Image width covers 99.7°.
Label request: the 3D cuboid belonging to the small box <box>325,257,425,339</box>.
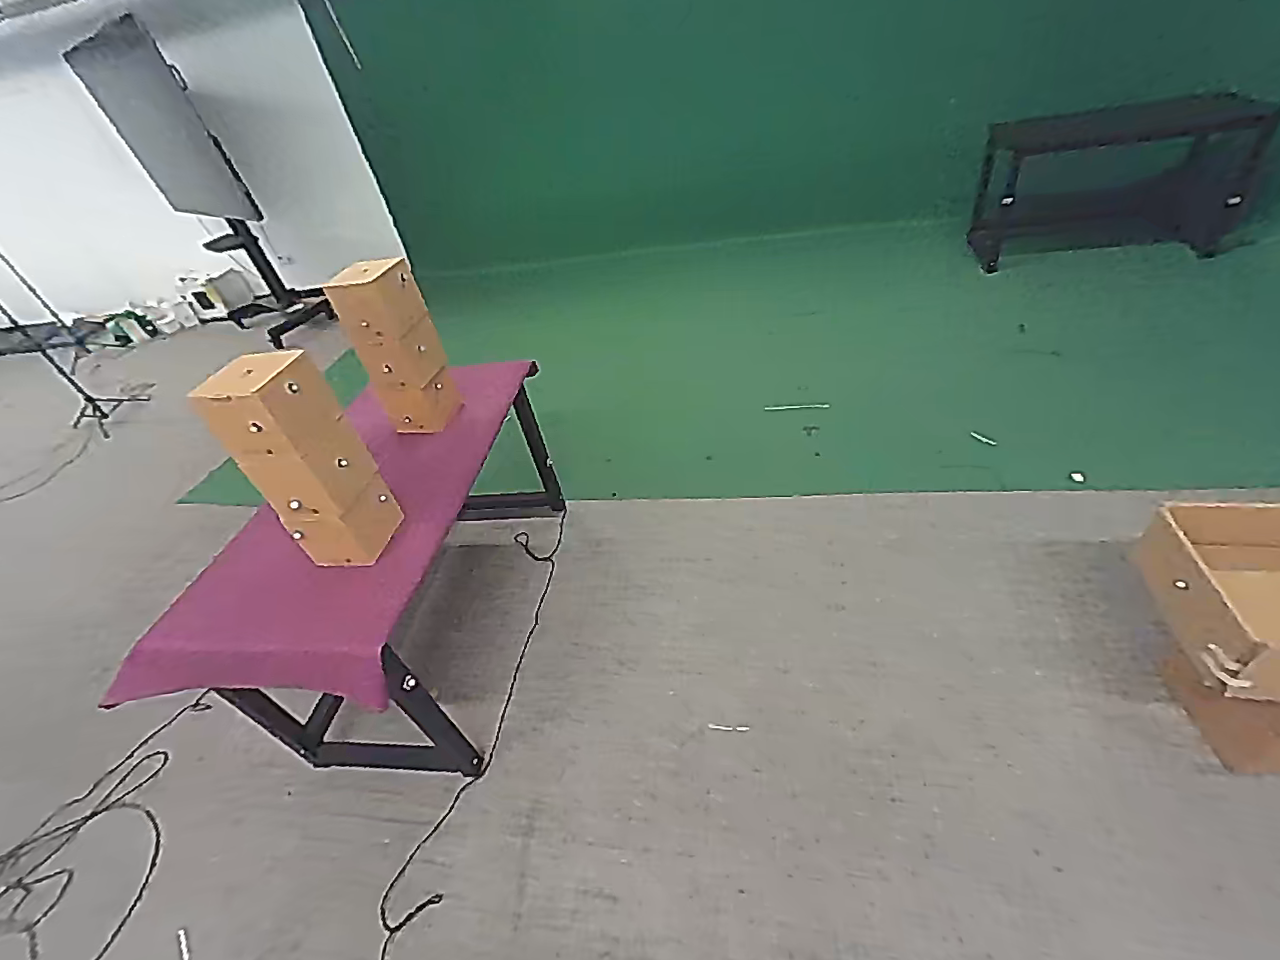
[{"bbox_3d":[-0.748,-0.522,1.556,0.168,0.176,0.179,1,43,15],"label":"small box"}]

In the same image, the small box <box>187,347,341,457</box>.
[{"bbox_3d":[-0.777,-0.160,1.143,0.168,0.176,0.179,-1,40,11],"label":"small box"}]

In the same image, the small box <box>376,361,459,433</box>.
[{"bbox_3d":[-0.716,-0.274,1.770,0.168,0.176,0.179,2,43,14],"label":"small box"}]

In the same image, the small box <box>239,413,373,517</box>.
[{"bbox_3d":[-0.751,-0.035,1.244,0.168,0.176,0.179,-2,41,11],"label":"small box"}]

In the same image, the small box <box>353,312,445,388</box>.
[{"bbox_3d":[-0.729,-0.396,1.661,0.168,0.176,0.179,2,44,14],"label":"small box"}]
